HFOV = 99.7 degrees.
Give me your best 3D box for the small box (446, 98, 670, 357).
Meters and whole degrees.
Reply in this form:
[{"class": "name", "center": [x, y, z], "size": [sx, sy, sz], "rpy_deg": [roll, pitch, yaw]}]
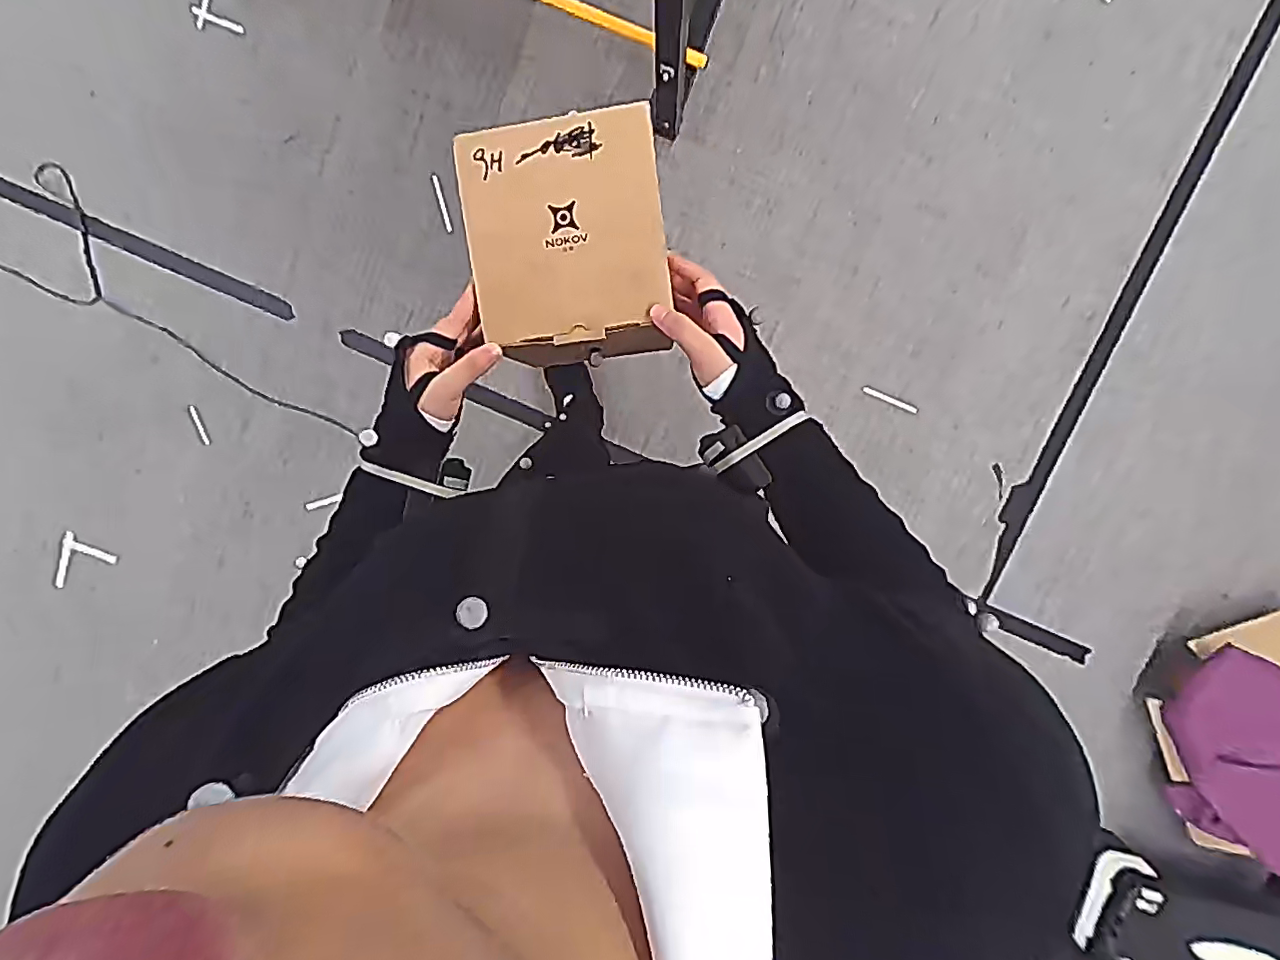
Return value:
[{"class": "small box", "center": [-0.062, -0.218, 0.521], "size": [0.168, 0.176, 0.179], "rpy_deg": [-7, 97, 4]}]
